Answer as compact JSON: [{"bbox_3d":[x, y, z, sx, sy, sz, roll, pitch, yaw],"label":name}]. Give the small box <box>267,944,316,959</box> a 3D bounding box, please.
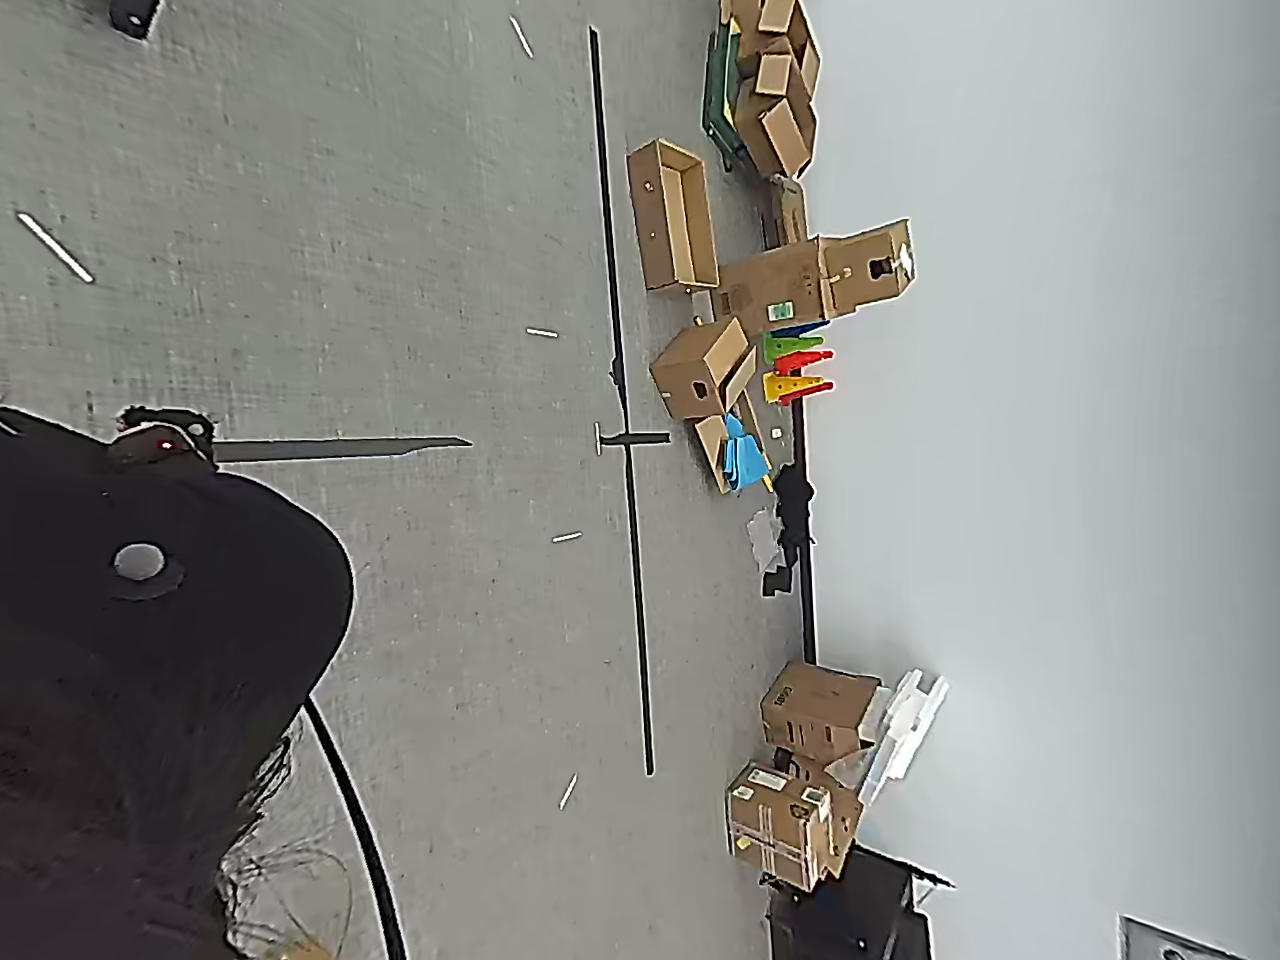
[{"bbox_3d":[-0.871,1.266,1.279,0.179,0.176,0.168,12,80,-52],"label":"small box"}]
